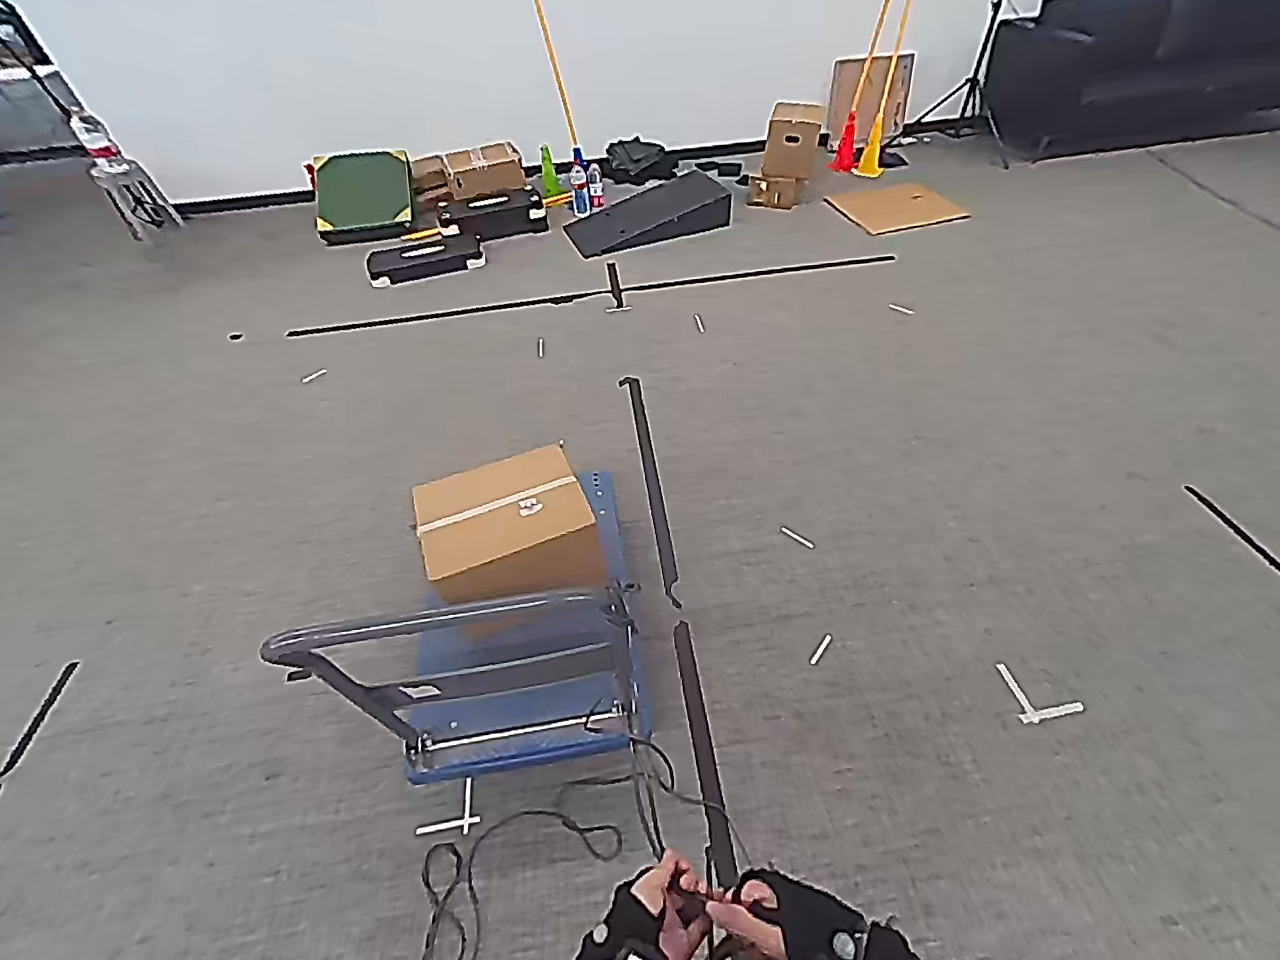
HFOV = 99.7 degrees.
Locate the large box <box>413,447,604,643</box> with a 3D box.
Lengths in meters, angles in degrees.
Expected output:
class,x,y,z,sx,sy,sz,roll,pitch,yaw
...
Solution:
class,x,y,z,sx,sy,sz,roll,pitch,yaw
large box,-0.344,0.173,1.460,0.408,0.320,0.320,-19,50,-14
